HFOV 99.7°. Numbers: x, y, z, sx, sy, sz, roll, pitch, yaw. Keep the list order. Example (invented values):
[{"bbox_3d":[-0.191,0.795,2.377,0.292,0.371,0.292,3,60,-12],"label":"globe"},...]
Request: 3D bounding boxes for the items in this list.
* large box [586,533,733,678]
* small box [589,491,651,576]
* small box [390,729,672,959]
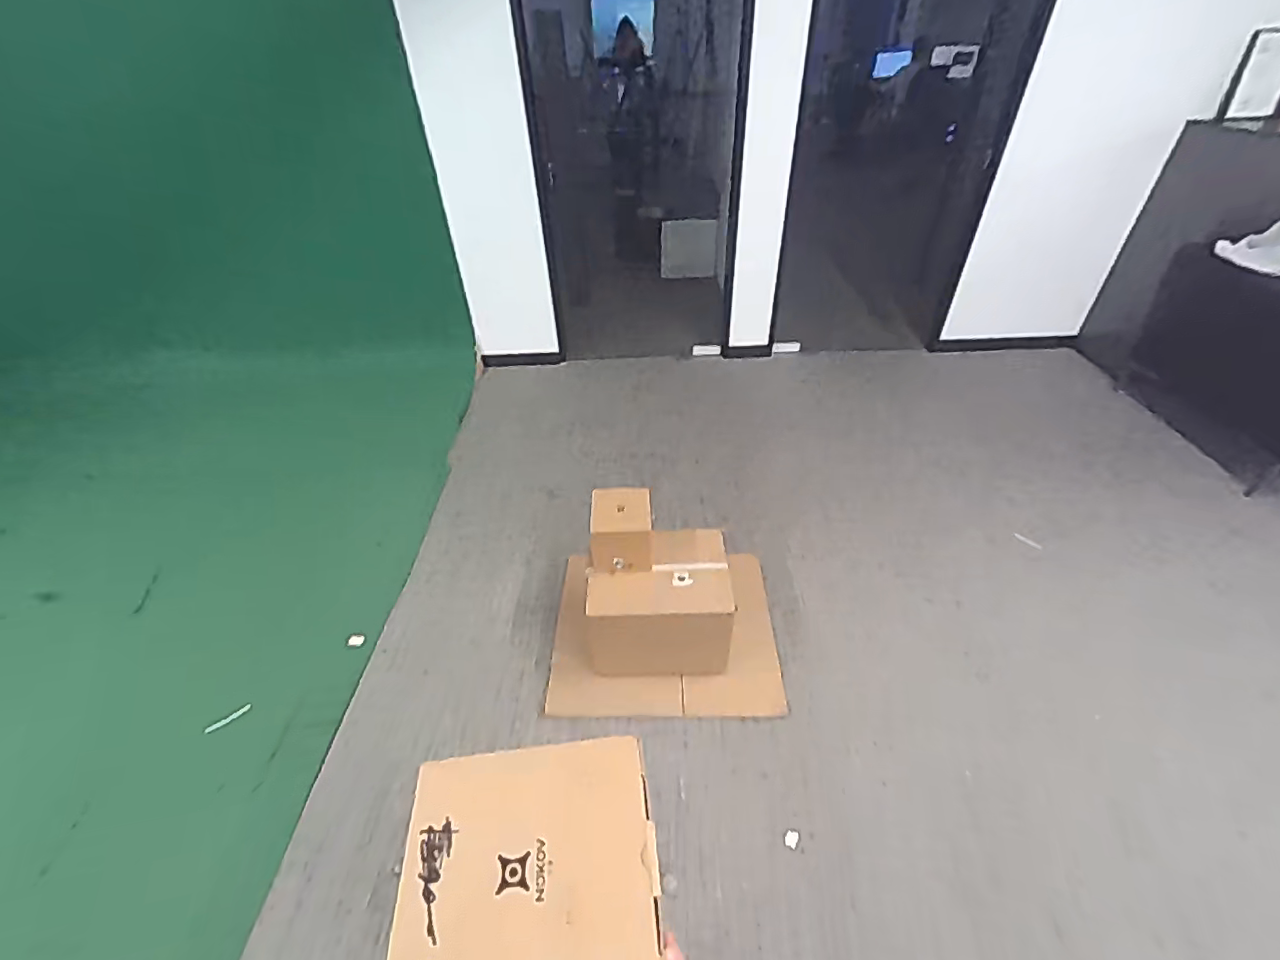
[{"bbox_3d":[0.048,0.381,1.642,0.408,0.320,0.320,-1,40,-1],"label":"large box"},{"bbox_3d":[-0.056,0.152,1.542,0.168,0.176,0.179,-3,39,-1],"label":"small box"},{"bbox_3d":[-0.072,0.320,0.427,0.179,0.176,0.168,-4,42,-3],"label":"small box"}]
